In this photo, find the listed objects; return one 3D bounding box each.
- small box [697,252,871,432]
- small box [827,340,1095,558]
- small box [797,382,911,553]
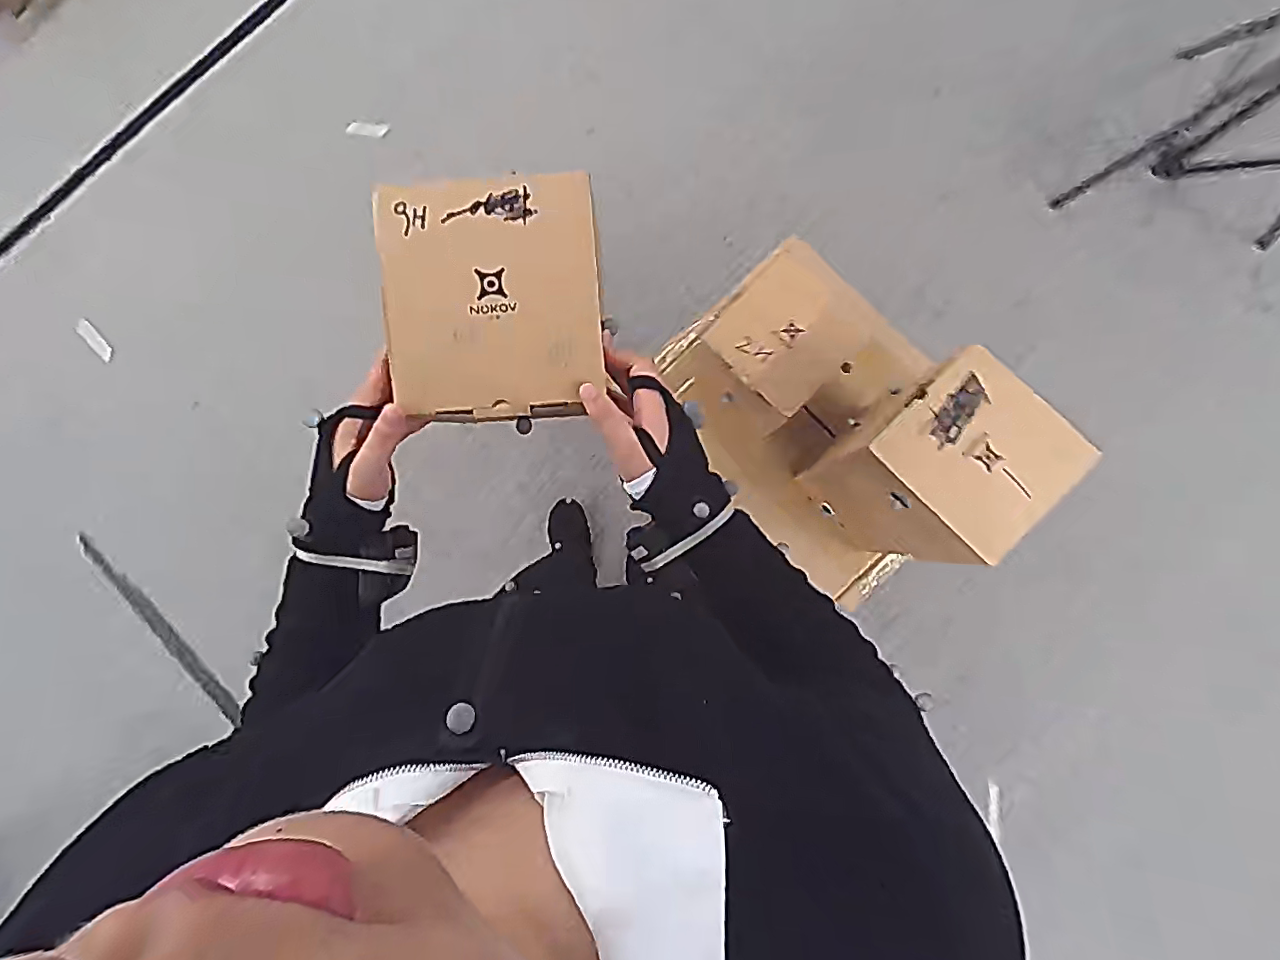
[{"bbox_3d":[0.202,-0.196,0.820,0.179,0.176,0.168,-45,86,-2],"label":"small box"},{"bbox_3d":[0.353,-0.025,0.638,0.168,0.176,0.179,-43,84,-2],"label":"small box"},{"bbox_3d":[0.360,-0.011,0.802,0.179,0.176,0.168,-44,83,-1],"label":"small box"}]
